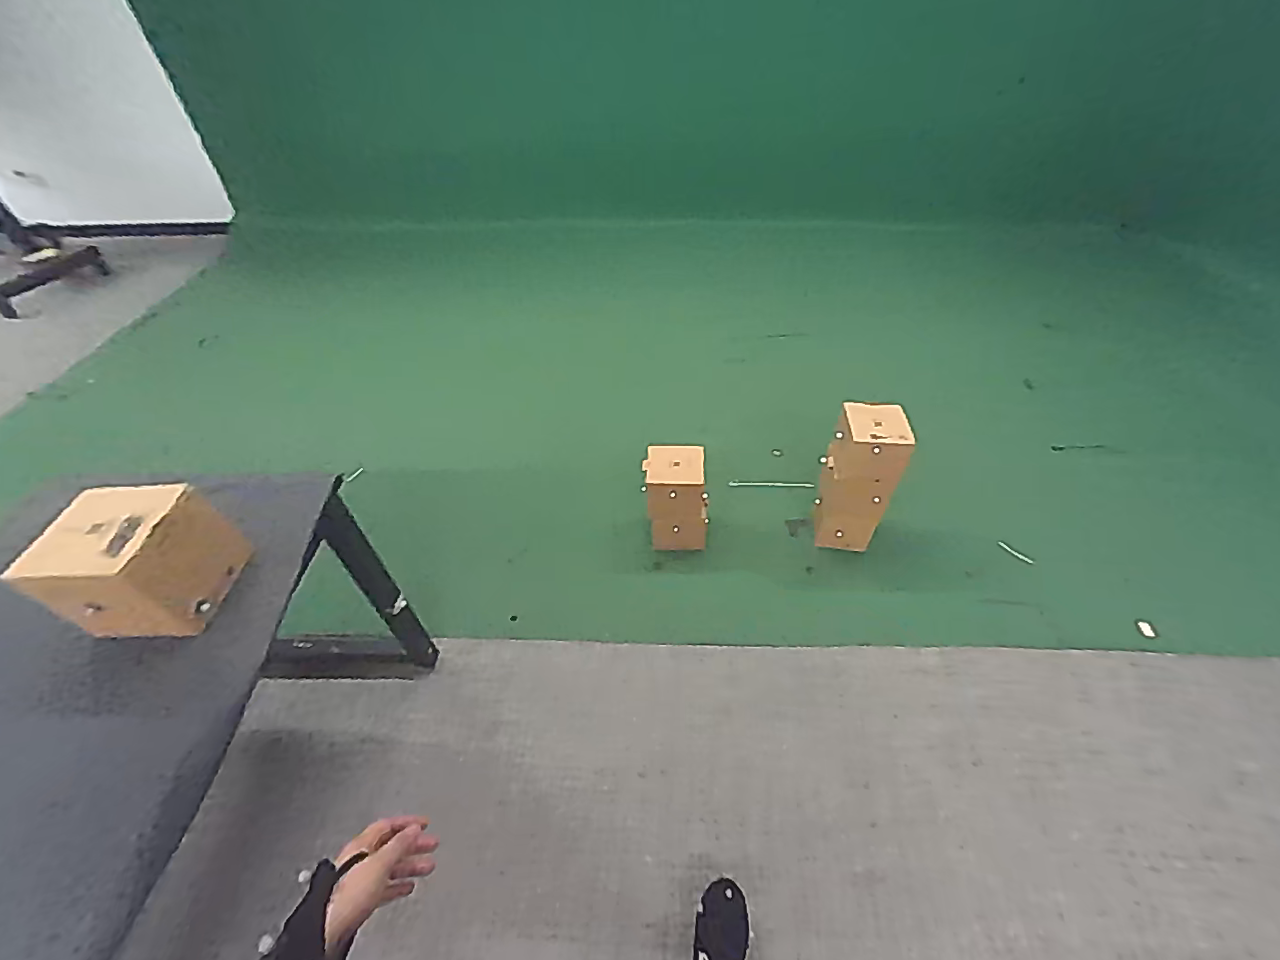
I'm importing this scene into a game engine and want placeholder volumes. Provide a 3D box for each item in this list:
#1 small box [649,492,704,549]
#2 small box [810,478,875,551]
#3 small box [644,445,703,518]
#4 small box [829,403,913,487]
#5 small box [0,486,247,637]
[{"bbox_3d":[0.120,0.119,1.826,0.179,0.176,0.168,0,47,1],"label":"small box"},{"bbox_3d":[0.674,0.118,1.820,0.168,0.176,0.179,6,46,7],"label":"small box"},{"bbox_3d":[0.105,0.008,1.708,0.179,0.176,0.168,2,47,2],"label":"small box"},{"bbox_3d":[0.664,-0.102,1.576,0.168,0.176,0.179,4,46,3],"label":"small box"},{"bbox_3d":[-0.757,0.126,0.823,0.179,0.176,0.168,-2,47,4],"label":"small box"}]
